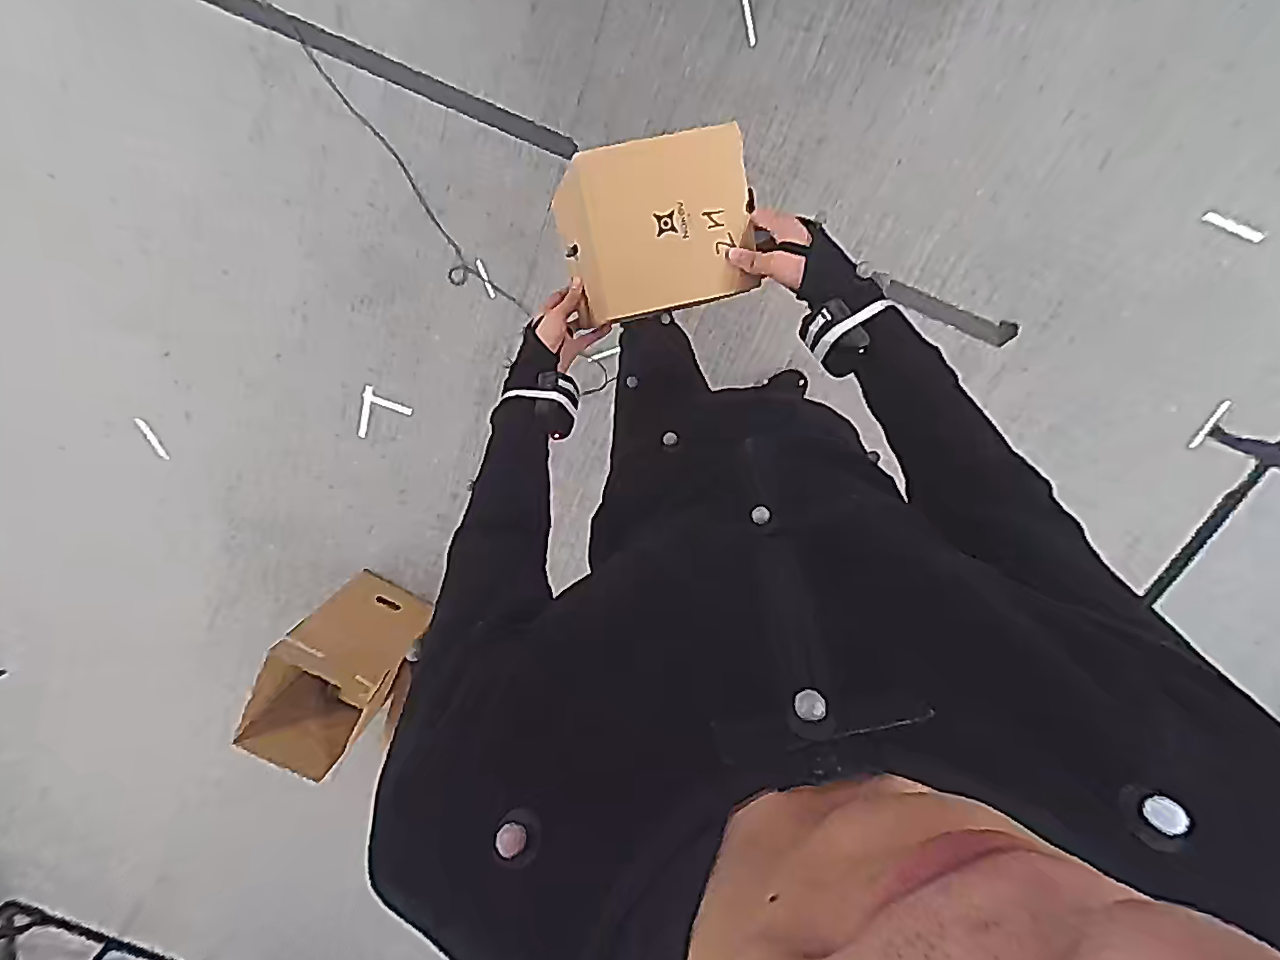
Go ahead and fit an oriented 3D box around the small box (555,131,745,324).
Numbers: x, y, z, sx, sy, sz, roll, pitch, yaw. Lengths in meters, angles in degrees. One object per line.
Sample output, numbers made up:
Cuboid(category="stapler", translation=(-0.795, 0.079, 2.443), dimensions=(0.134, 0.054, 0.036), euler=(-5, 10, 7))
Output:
Cuboid(category="small box", translation=(0.001, -0.289, 0.650), dimensions=(0.179, 0.176, 0.168), euler=(-16, 106, -14))
